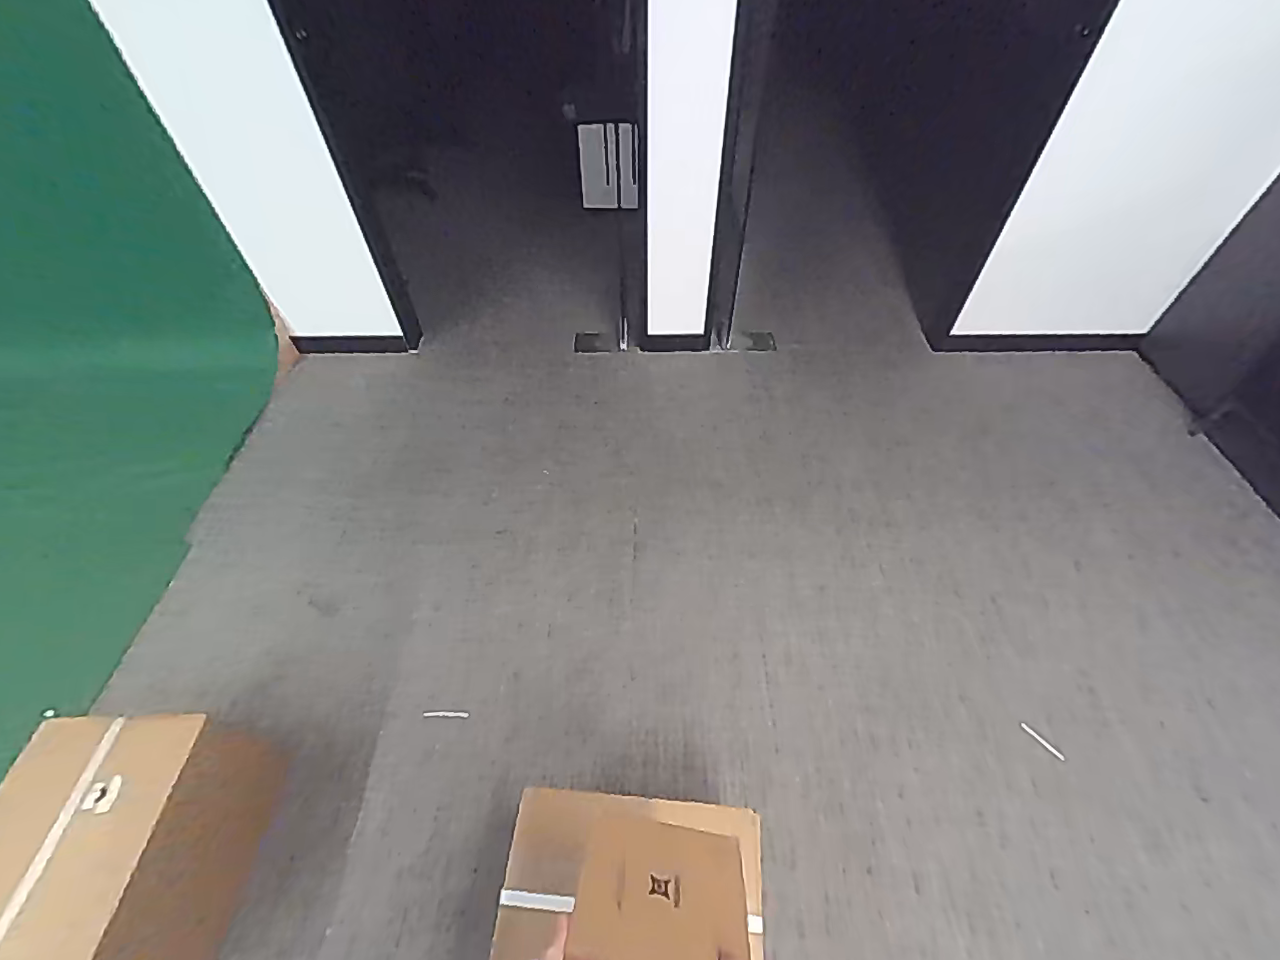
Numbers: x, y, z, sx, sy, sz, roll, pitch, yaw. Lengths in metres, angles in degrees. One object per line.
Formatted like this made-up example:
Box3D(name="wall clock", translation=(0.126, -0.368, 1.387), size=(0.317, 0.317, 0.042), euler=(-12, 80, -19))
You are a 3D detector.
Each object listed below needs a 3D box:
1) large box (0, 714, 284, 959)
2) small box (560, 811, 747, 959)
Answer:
Box3D(name="large box", translation=(-0.967, 0.699, 1.010), size=(0.320, 0.320, 0.408), euler=(-1, 49, 0))
Box3D(name="small box", translation=(0.011, 0.506, 0.582), size=(0.179, 0.176, 0.168), euler=(9, 12, 5))
